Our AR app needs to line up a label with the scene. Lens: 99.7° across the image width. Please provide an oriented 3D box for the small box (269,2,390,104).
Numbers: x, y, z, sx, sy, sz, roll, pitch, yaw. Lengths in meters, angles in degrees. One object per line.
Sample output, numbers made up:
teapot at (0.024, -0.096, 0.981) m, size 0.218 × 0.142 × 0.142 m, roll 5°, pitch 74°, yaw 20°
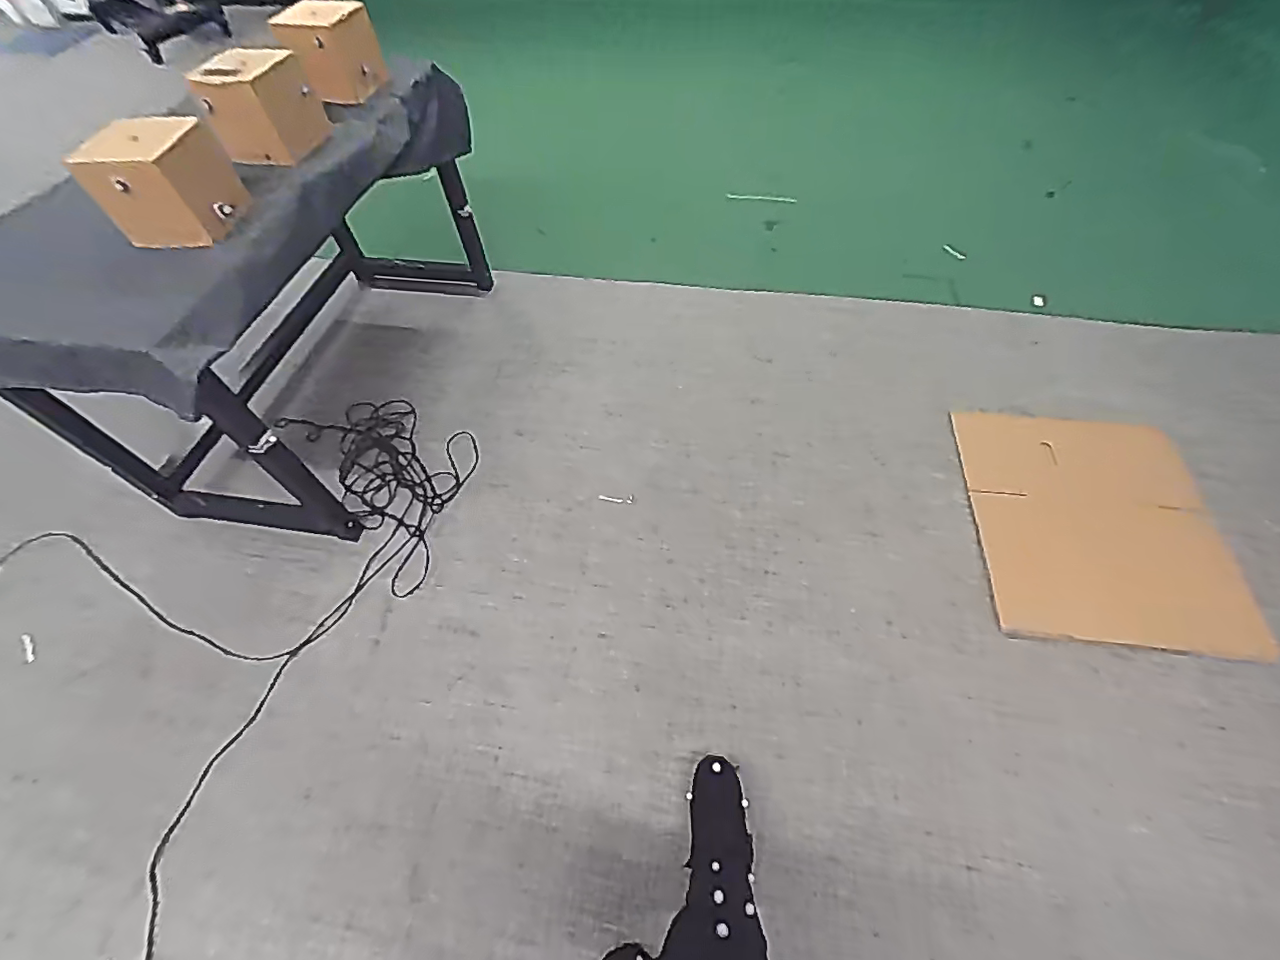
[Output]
small box at (-0.794, -1.106, 1.403) m, size 0.179 × 0.176 × 0.168 m, roll 11°, pitch 57°, yaw 10°

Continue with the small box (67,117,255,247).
small box at (-0.909, -0.572, 1.048) m, size 0.179 × 0.176 × 0.168 m, roll 1°, pitch 57°, yaw 3°
